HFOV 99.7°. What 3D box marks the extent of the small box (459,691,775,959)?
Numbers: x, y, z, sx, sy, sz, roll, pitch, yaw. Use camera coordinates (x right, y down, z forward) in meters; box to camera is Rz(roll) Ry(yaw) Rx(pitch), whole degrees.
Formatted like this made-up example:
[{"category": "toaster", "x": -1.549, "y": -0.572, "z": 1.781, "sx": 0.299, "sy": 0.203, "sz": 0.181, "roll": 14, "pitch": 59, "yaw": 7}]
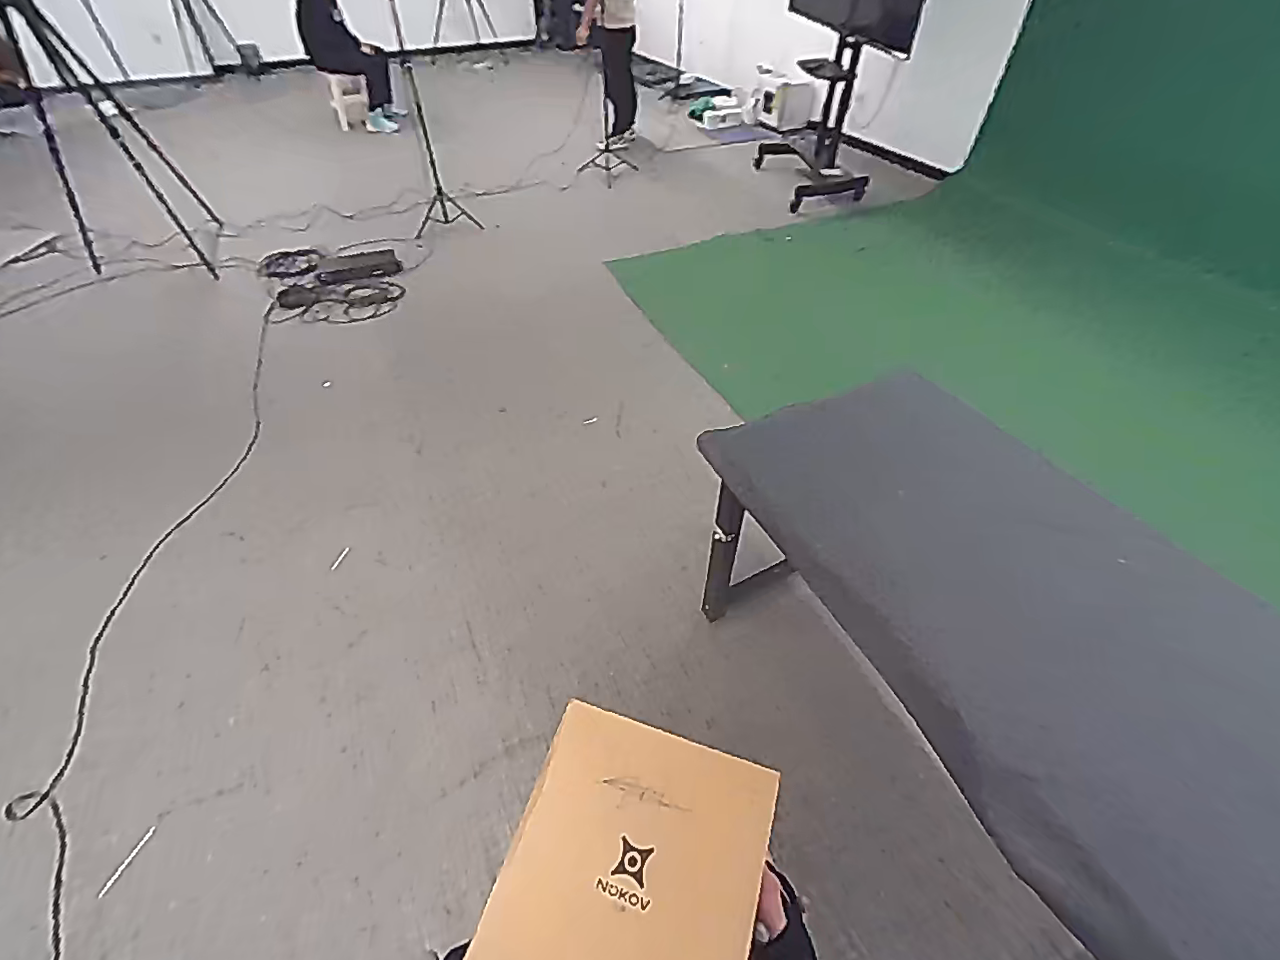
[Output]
[{"category": "small box", "x": -0.004, "y": 0.299, "z": 0.422, "sx": 0.168, "sy": 0.176, "sz": 0.179, "roll": 15, "pitch": 55, "yaw": 13}]
